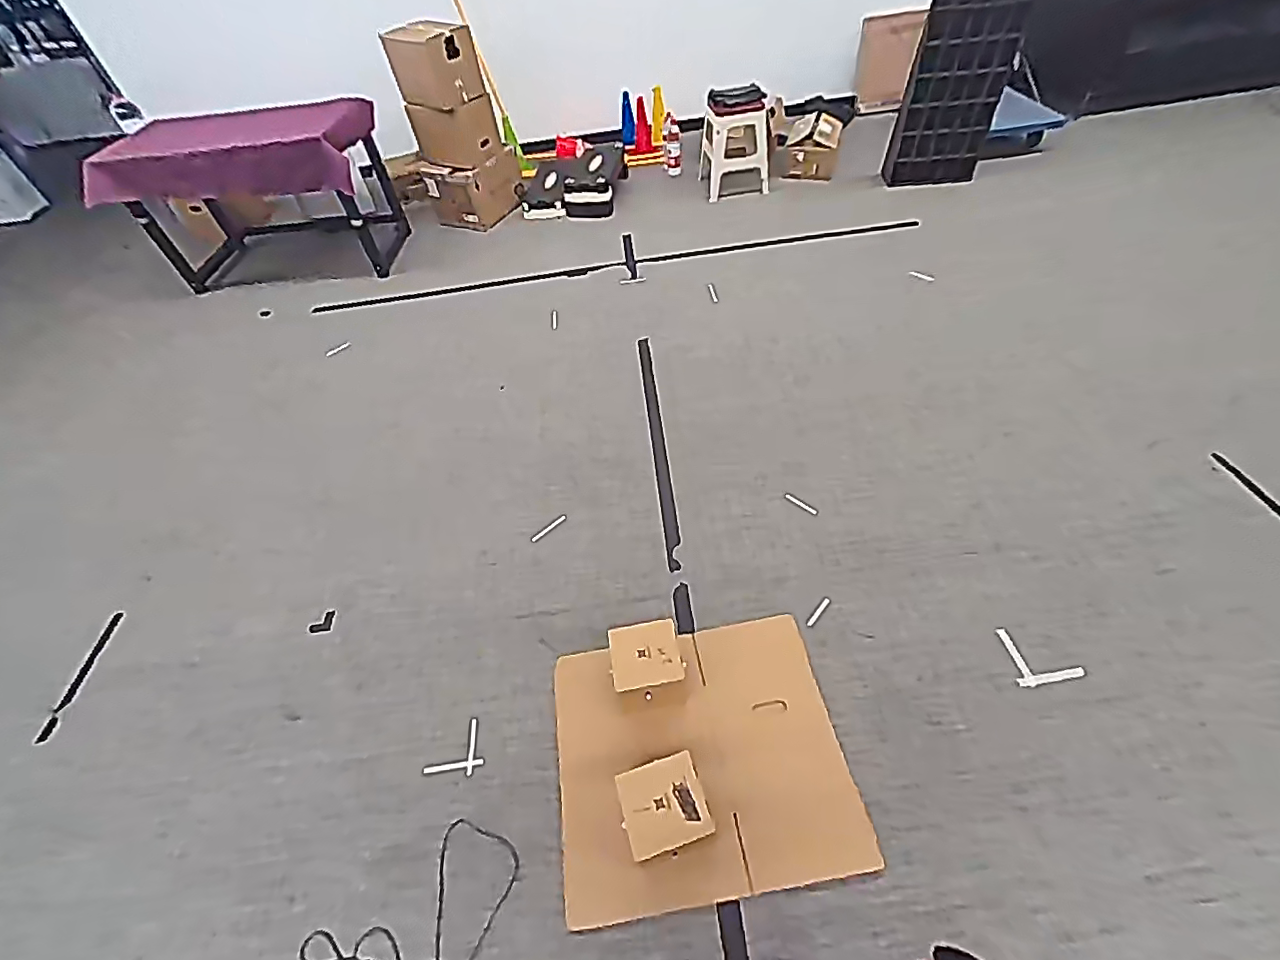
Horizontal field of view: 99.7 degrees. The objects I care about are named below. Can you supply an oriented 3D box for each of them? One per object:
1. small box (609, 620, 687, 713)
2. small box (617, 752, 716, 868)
[{"bbox_3d":[0.022,0.495,1.424,0.179,0.176,0.168,-9,49,-2],"label":"small box"},{"bbox_3d":[0.059,0.739,1.209,0.179,0.176,0.168,-17,49,-7],"label":"small box"}]
